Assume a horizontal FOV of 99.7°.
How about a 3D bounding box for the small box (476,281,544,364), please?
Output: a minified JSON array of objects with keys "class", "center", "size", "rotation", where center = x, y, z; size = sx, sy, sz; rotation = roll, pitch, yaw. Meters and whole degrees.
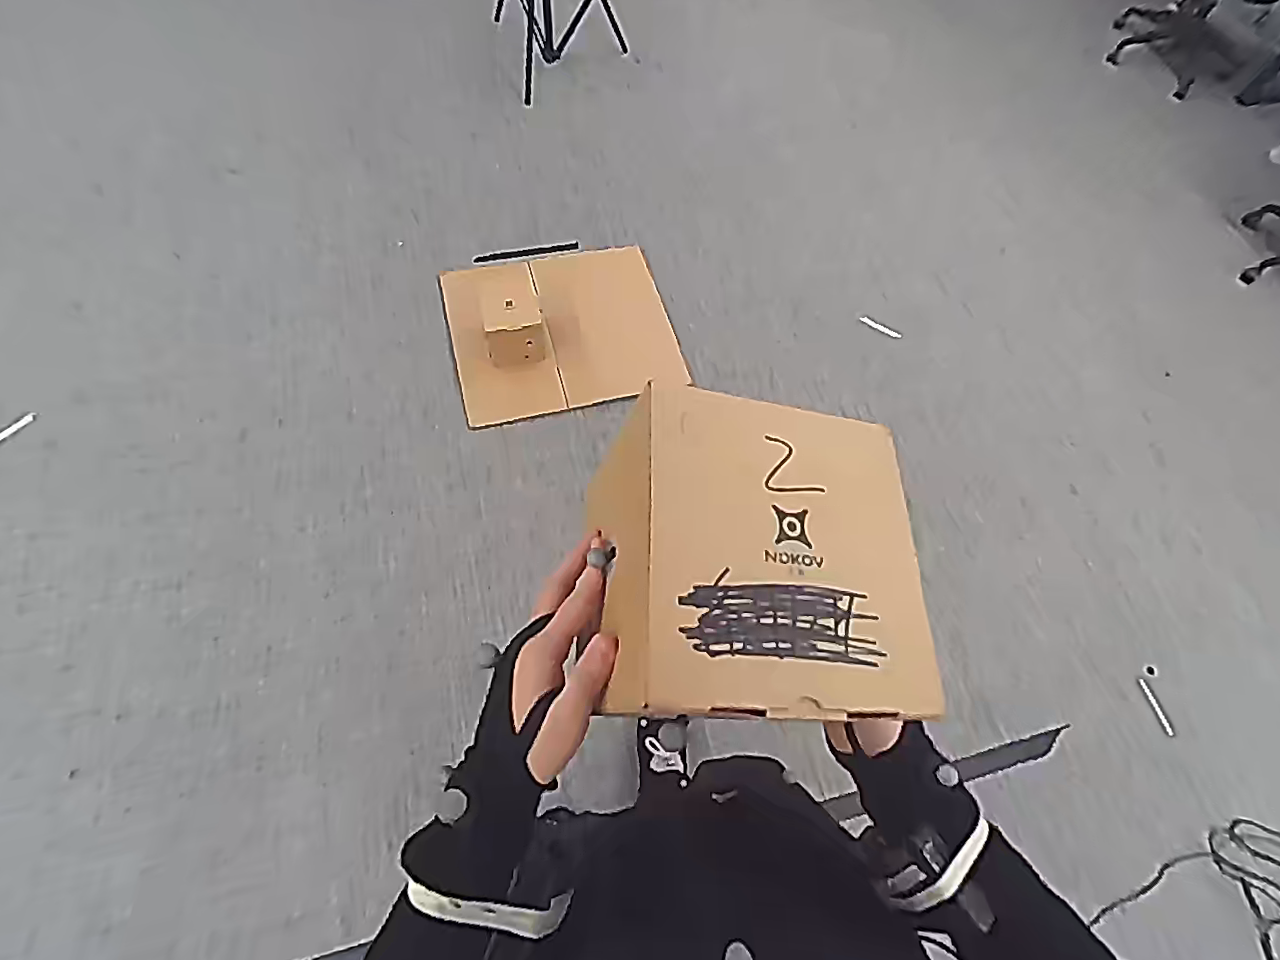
[{"class":"small box","center":[-0.389,-0.471,1.642],"size":[0.168,0.176,0.179],"rotation":[-12,67,-12]}]
